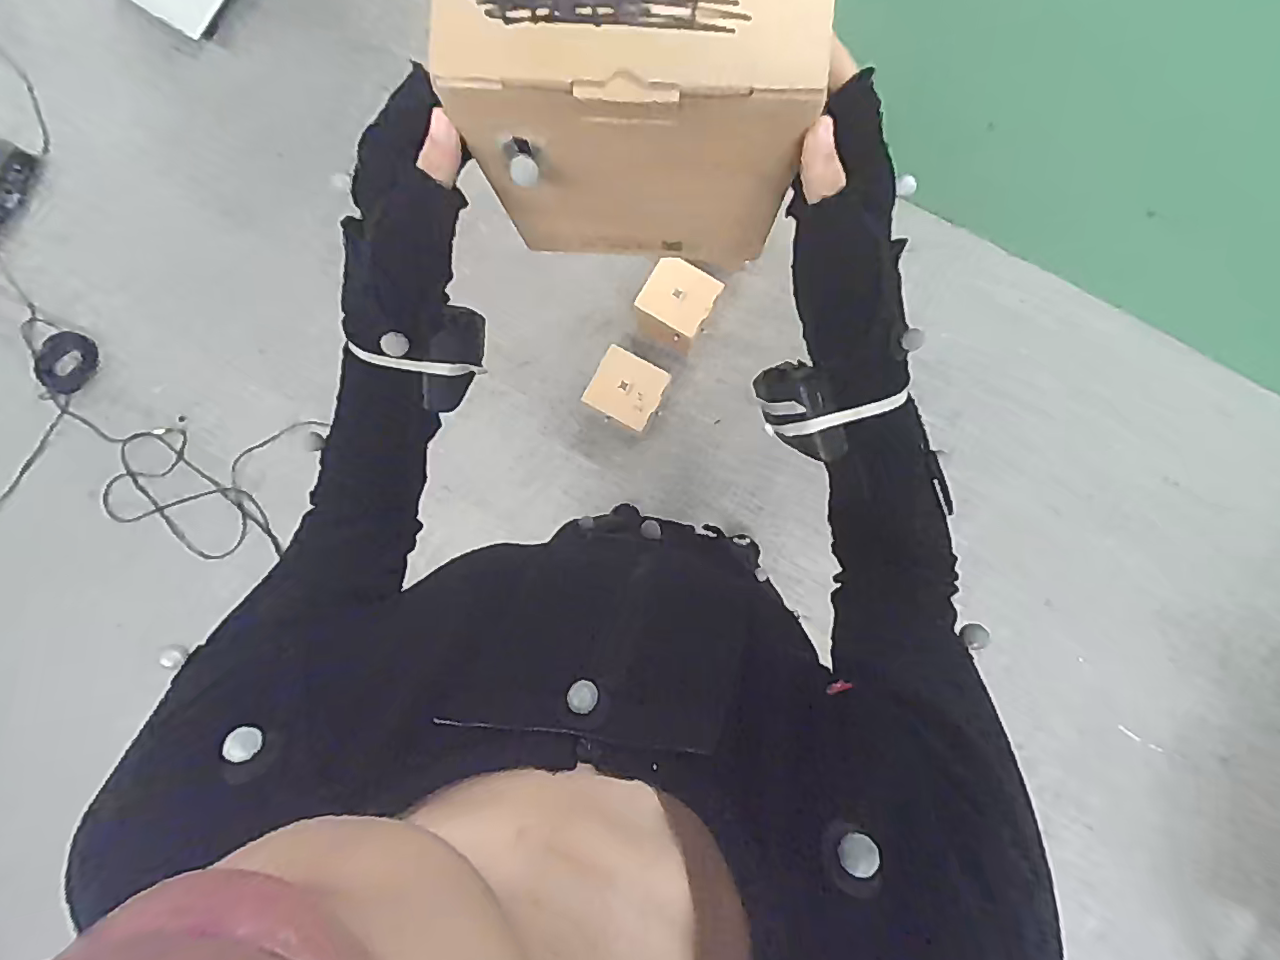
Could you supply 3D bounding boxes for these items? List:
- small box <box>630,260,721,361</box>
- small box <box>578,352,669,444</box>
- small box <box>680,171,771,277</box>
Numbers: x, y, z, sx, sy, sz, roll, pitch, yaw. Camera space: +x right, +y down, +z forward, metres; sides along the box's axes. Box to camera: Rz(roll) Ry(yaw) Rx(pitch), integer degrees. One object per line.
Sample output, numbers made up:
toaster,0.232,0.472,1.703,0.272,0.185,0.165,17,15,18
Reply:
small box,0.090,-0.439,1.434,0.179,0.176,0.168,30,87,3
small box,-0.041,-0.205,1.418,0.179,0.176,0.168,29,88,2
small box,0.221,-0.673,1.446,0.179,0.176,0.168,27,87,3
